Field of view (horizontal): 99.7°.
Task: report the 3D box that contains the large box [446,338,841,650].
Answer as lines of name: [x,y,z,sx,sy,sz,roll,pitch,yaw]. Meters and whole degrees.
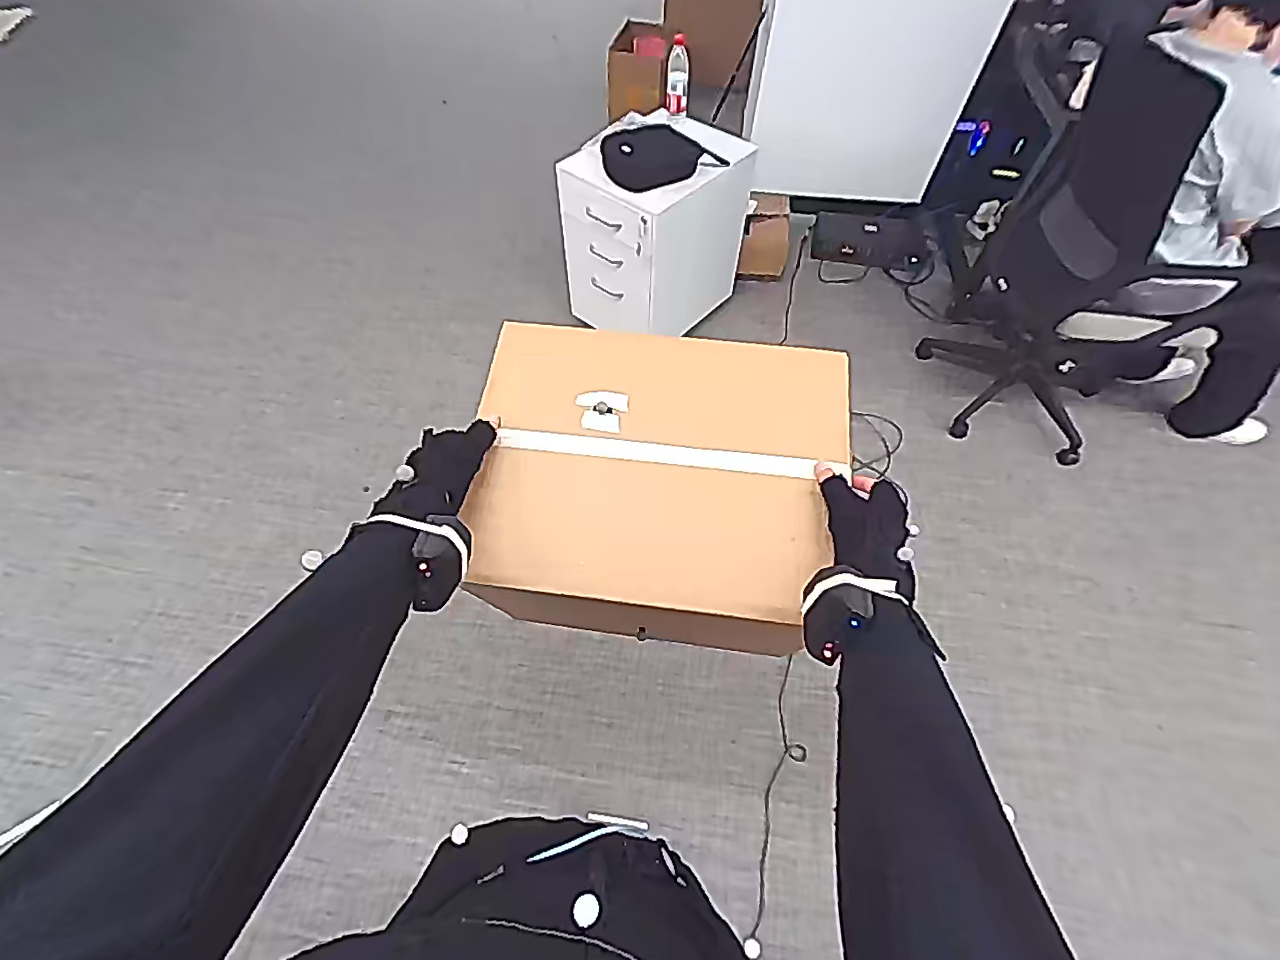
large box: [0.022,0.041,0.727,0.408,0.320,0.320,6,67,5]
